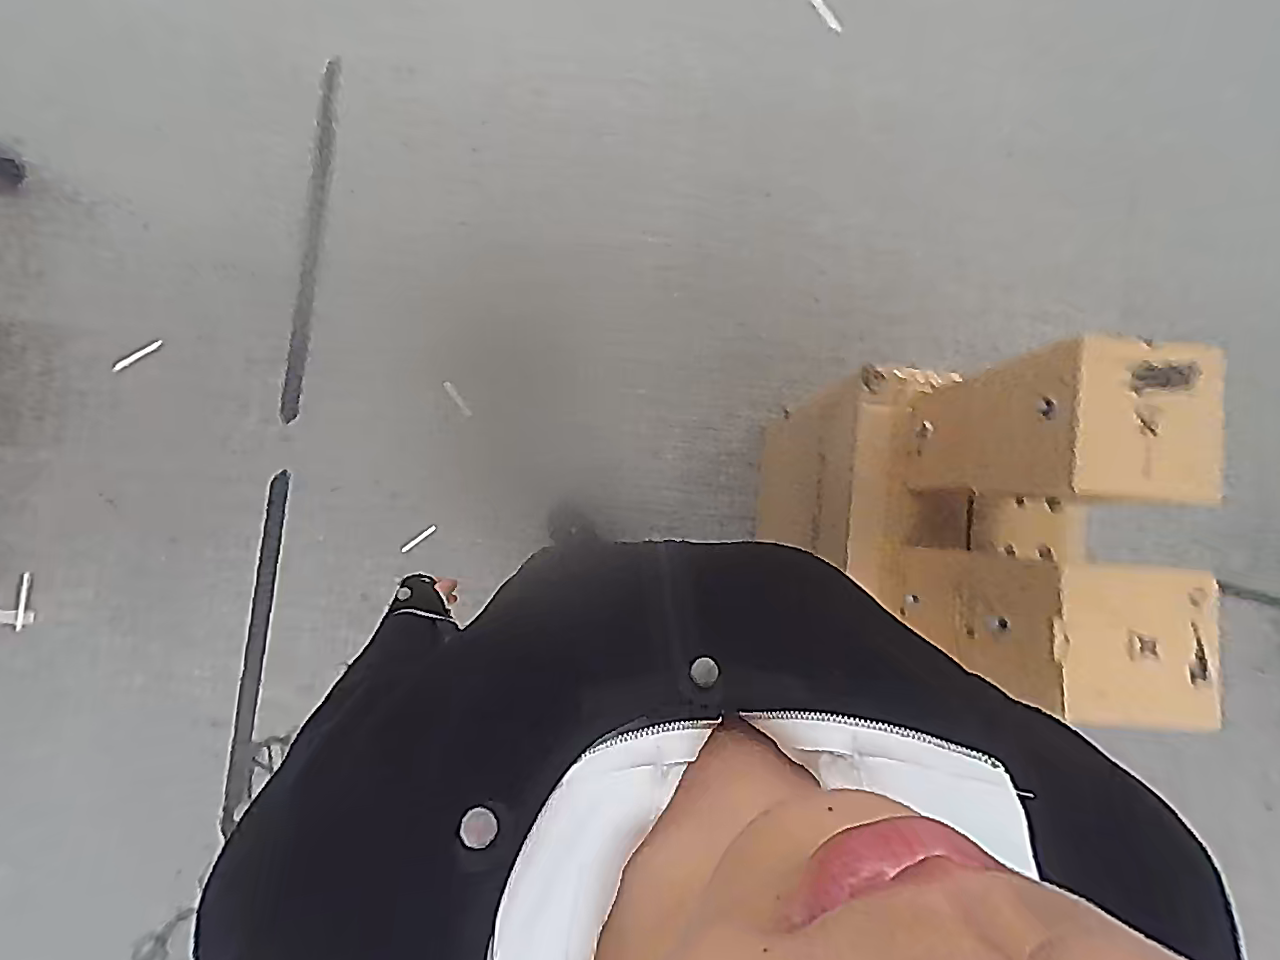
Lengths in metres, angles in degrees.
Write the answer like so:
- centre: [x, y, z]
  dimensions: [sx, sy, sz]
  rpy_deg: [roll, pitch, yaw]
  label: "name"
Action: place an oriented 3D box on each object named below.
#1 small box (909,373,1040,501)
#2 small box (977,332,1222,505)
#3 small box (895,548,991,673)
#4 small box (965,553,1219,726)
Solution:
- centre: [0.549, -0.057, 0.835]
  dimensions: [0.179, 0.176, 0.168]
  rpy_deg: [6, 86, 0]
  label: "small box"
- centre: [0.551, -0.064, 0.671]
  dimensions: [0.168, 0.176, 0.179]
  rpy_deg: [5, 87, -1]
  label: "small box"
- centre: [0.516, 0.193, 0.815]
  dimensions: [0.179, 0.176, 0.168]
  rpy_deg: [6, 84, -1]
  label: "small box"
- centre: [0.523, 0.178, 0.652]
  dimensions: [0.179, 0.176, 0.168]
  rpy_deg: [5, 85, -1]
  label: "small box"
